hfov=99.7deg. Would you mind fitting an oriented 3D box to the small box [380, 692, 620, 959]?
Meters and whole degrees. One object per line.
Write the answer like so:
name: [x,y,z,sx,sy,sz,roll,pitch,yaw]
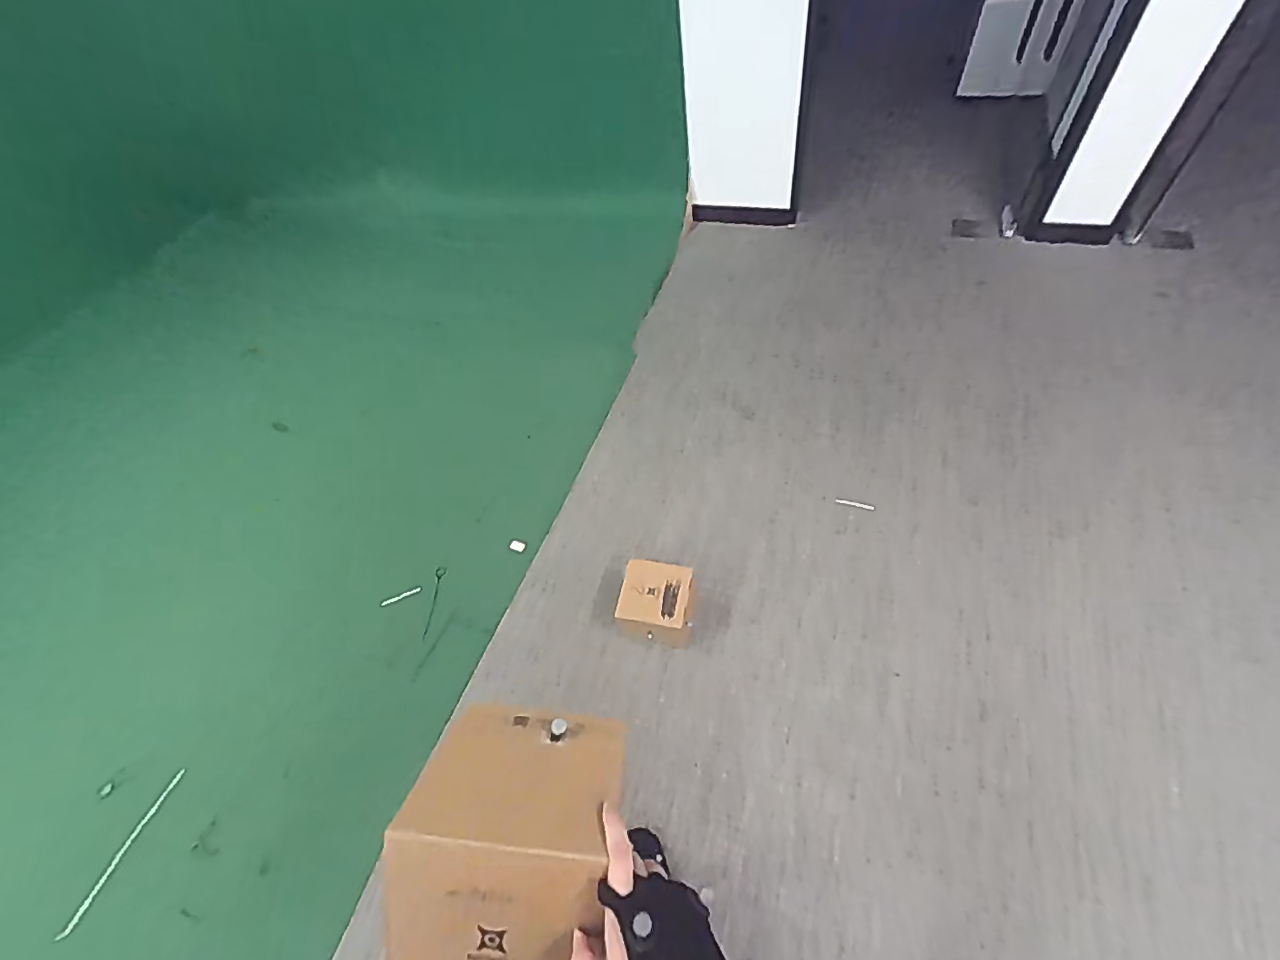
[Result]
small box: [-0.111,0.325,0.488,0.168,0.176,0.179,7,100,1]
